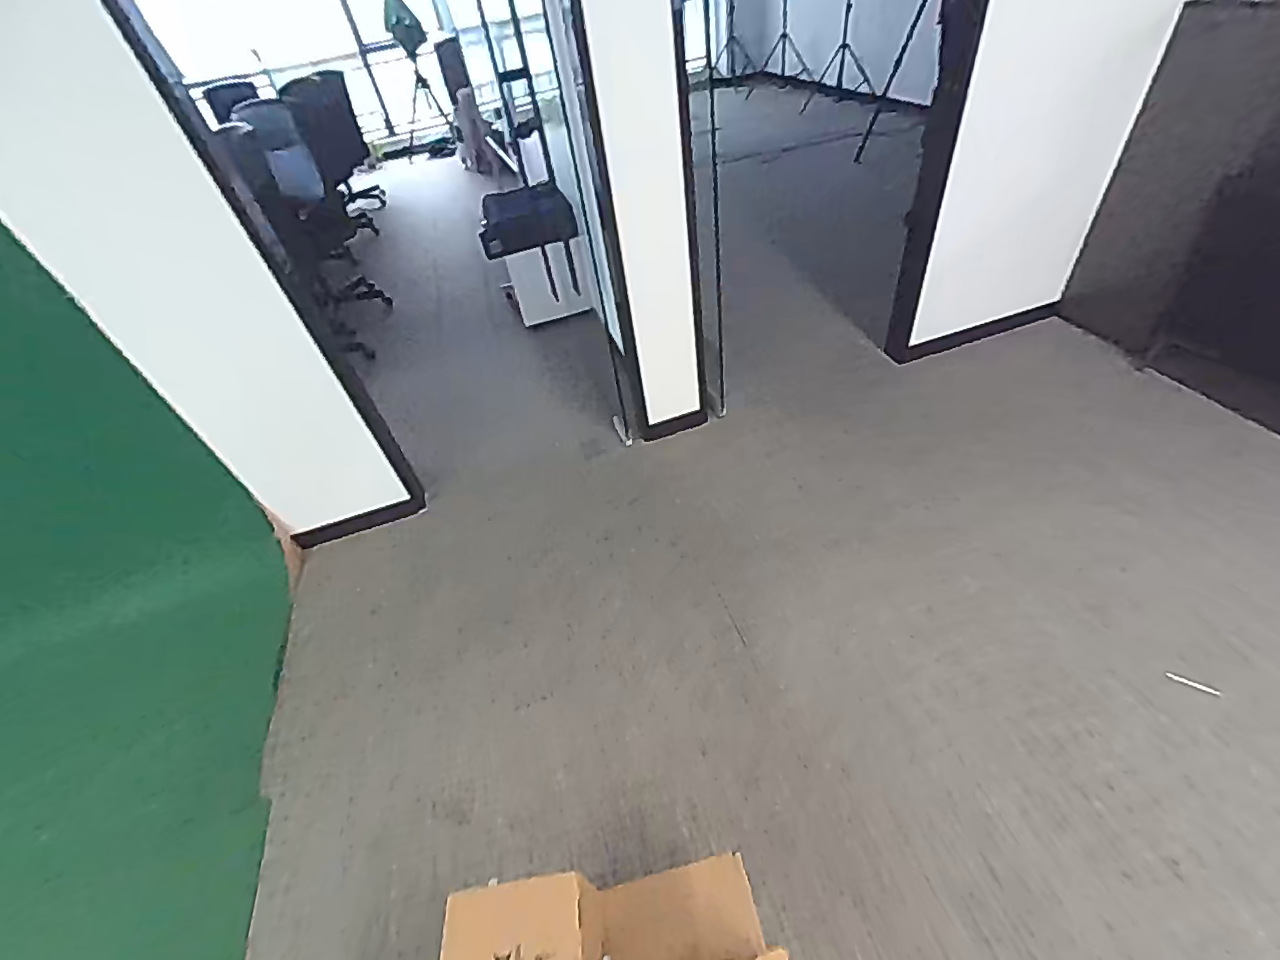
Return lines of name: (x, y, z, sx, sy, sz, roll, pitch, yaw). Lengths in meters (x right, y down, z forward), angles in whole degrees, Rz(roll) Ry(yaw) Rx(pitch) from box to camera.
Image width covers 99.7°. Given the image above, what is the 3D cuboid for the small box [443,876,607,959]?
small box: (-0.141, 0.638, 0.694, 0.179, 0.176, 0.168, -10, 43, 0)
